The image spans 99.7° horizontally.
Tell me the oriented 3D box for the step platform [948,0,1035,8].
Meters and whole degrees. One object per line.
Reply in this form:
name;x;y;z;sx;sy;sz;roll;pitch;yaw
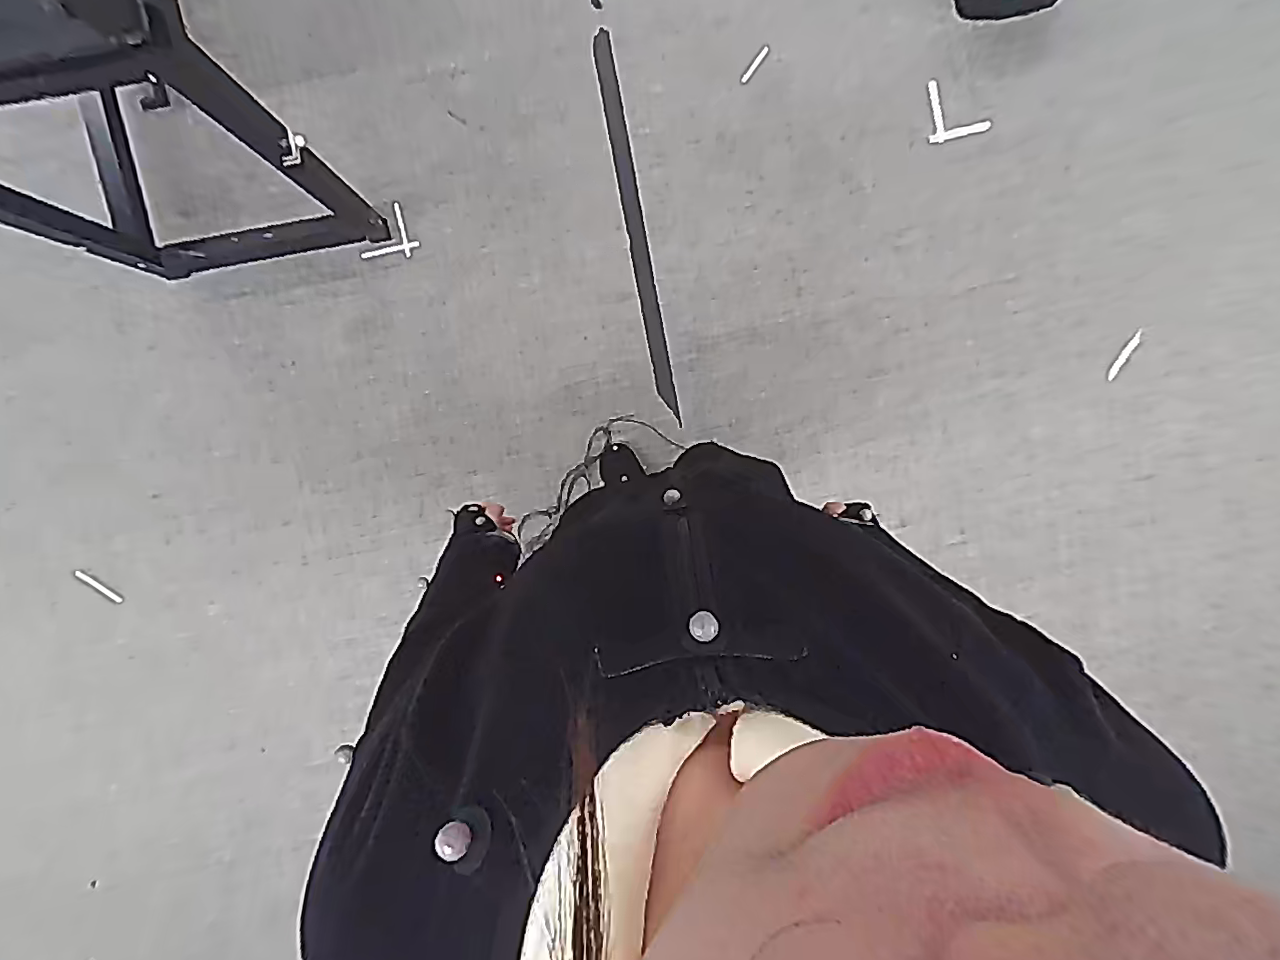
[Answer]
step platform;0.916;-1.578;1.307;0.286;0.204;0.684;-6;94;-2
